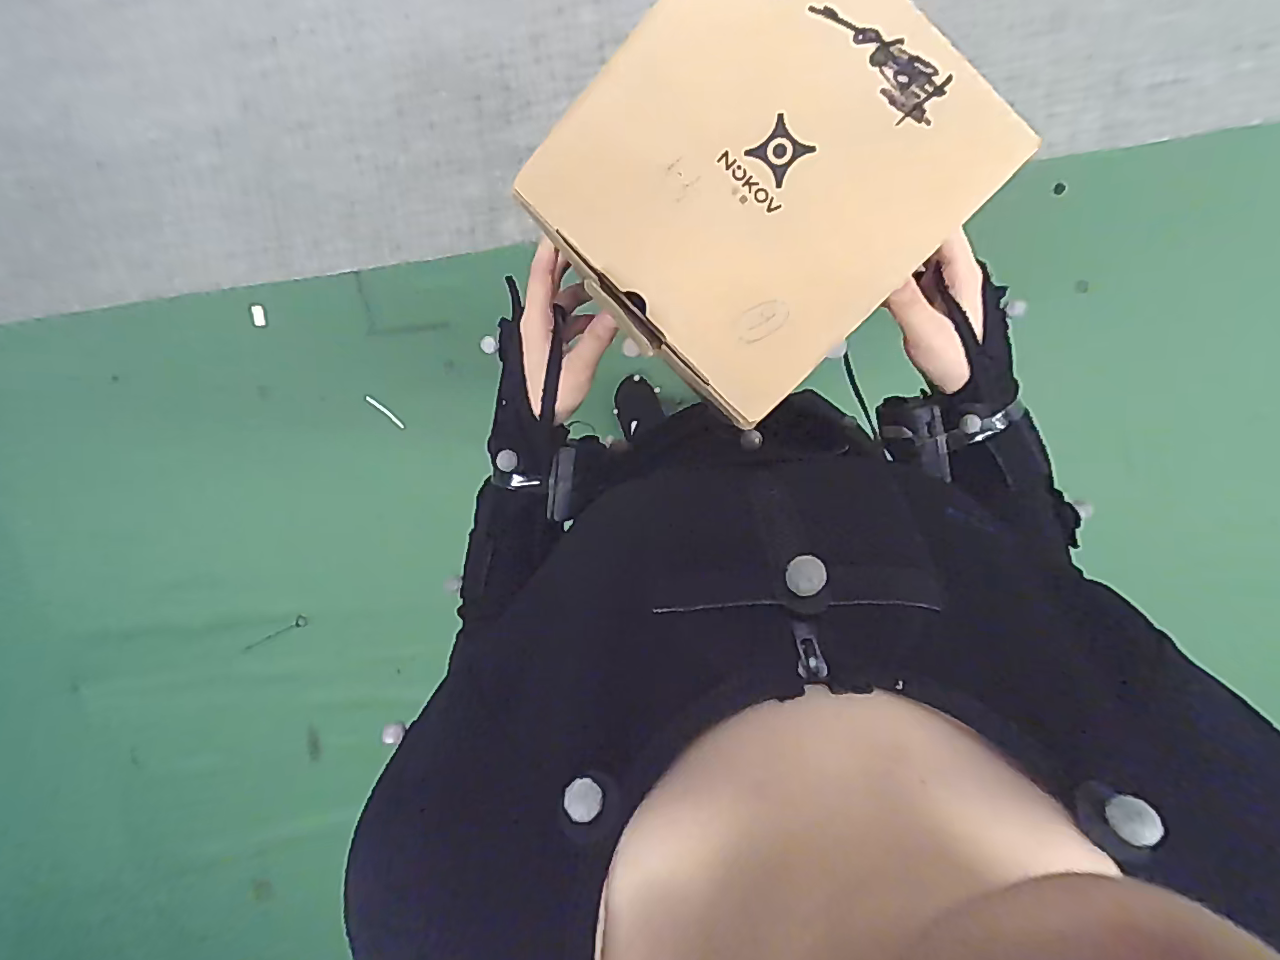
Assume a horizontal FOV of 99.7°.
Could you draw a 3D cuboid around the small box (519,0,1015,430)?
[{"bbox_3d":[0.063,-0.150,0.334,0.168,0.176,0.179,45,100,-2],"label":"small box"}]
